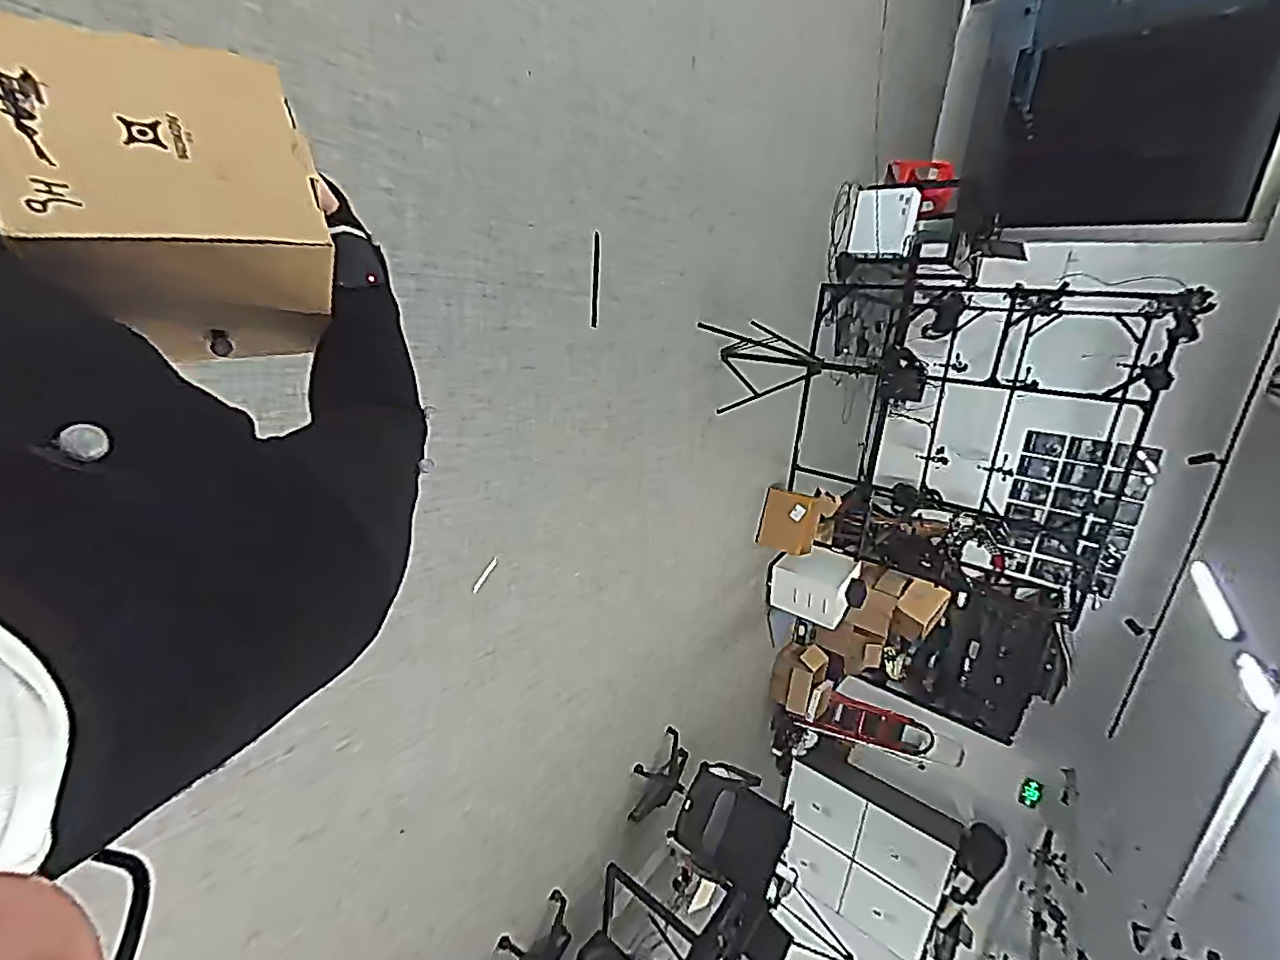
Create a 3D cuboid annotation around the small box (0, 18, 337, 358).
[{"bbox_3d":[-0.375,-0.218,0.453,0.179,0.176,0.168,-15,81,-35],"label":"small box"}]
